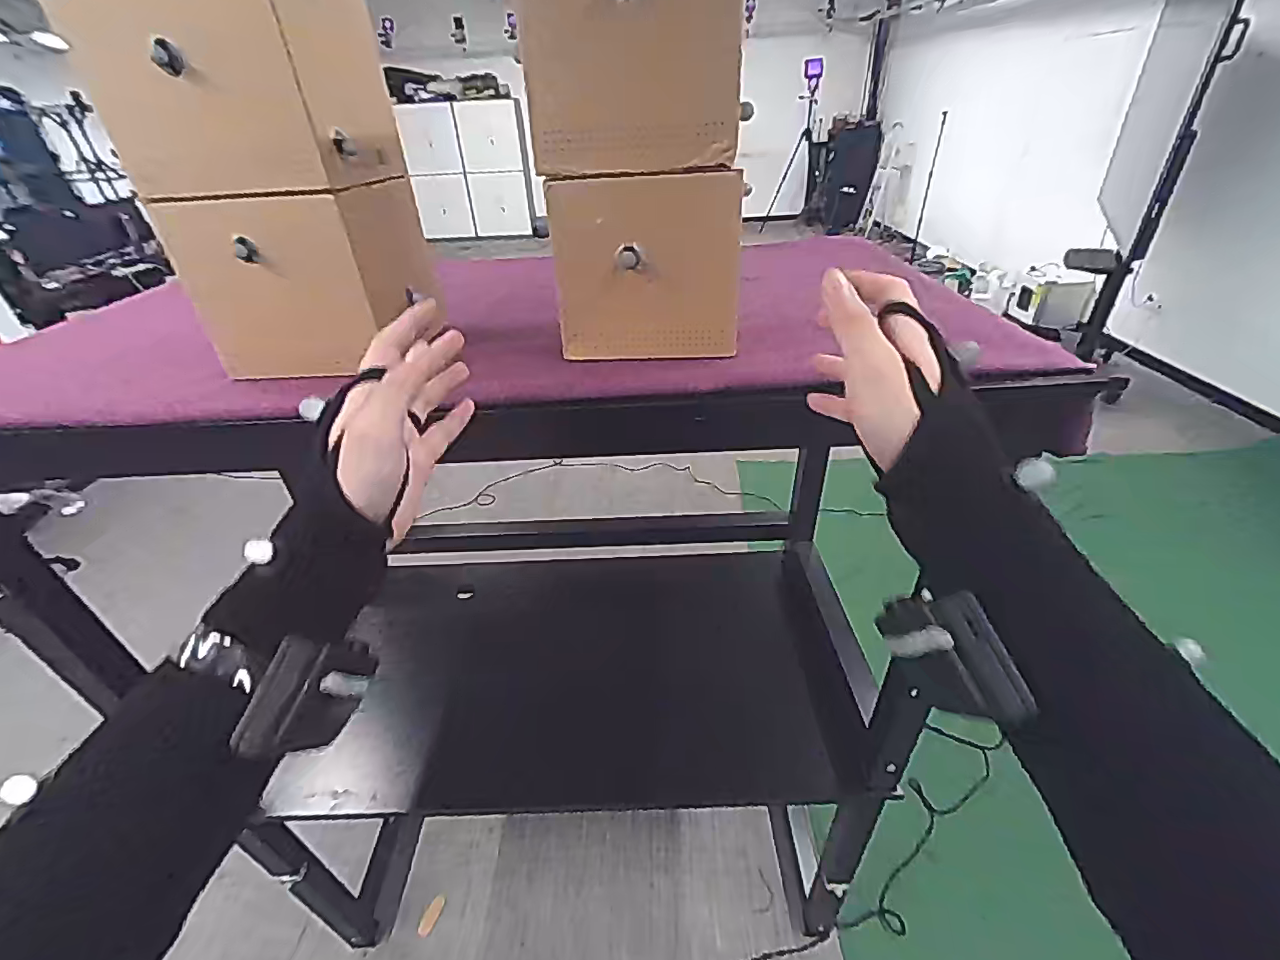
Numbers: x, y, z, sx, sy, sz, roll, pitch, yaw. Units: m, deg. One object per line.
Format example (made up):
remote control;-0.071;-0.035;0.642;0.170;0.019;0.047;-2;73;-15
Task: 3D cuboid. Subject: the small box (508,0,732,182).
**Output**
small box;-0.009;-0.370;0.483;0.179;0.176;0.168;0;34;6

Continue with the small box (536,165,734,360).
small box;0.007;-0.234;0.573;0.179;0.176;0.168;-2;35;5

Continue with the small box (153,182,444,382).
small box;-0.338;-0.212;0.581;0.179;0.176;0.168;-2;34;4

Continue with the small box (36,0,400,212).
small box;-0.348;-0.348;0.489;0.179;0.176;0.168;-3;34;4
